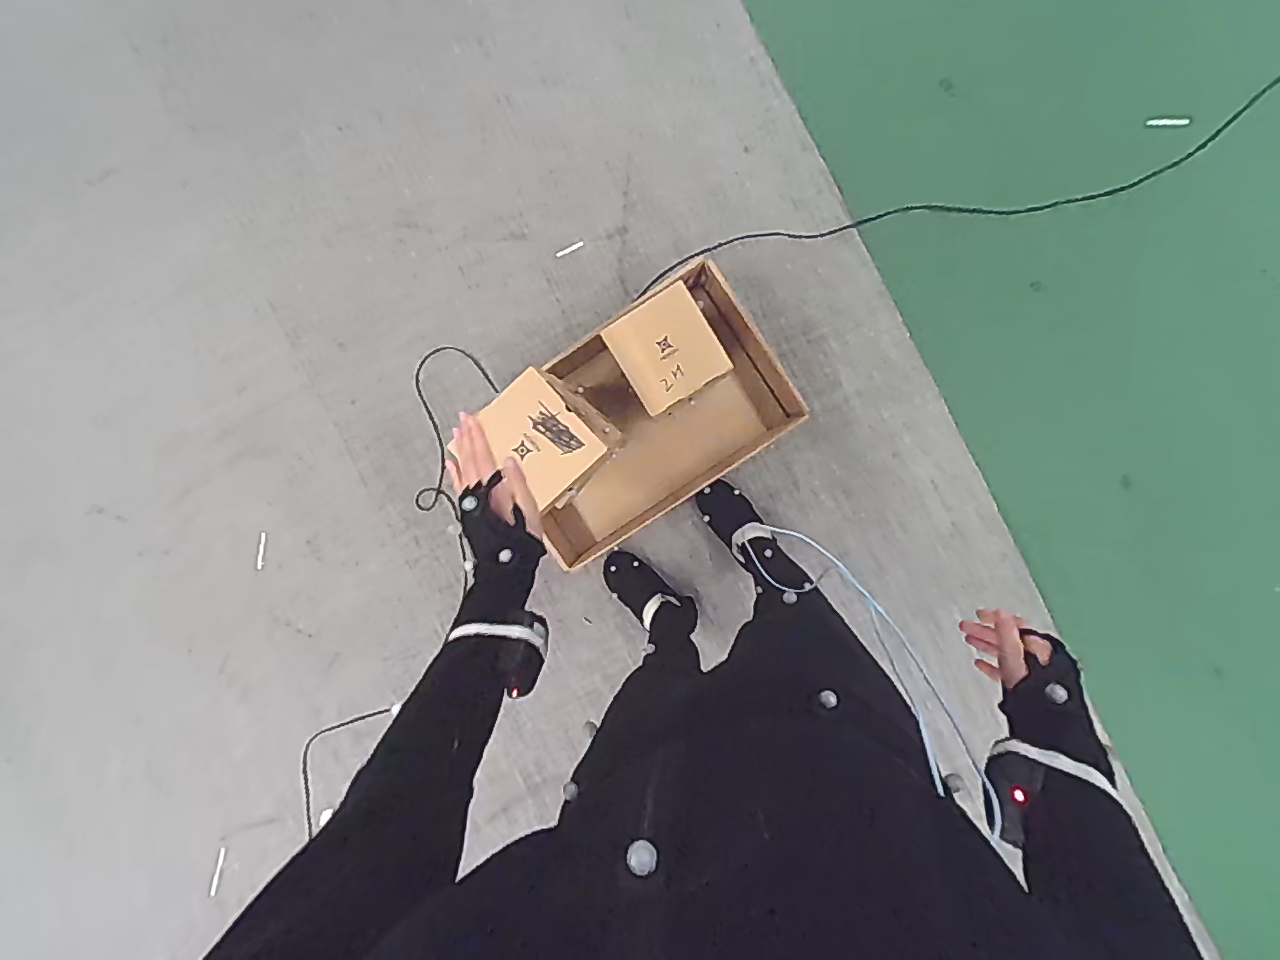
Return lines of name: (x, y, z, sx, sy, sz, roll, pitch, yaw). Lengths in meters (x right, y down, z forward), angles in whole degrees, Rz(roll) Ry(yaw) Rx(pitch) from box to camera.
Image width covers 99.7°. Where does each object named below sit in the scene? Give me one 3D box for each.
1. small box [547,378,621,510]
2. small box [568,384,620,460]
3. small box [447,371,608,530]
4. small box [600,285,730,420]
small box: (-0.150, -0.068, 1.025, 0.168, 0.176, 0.179, 41, 95, -1)
small box: (-0.158, -0.088, 1.187, 0.179, 0.176, 0.168, -33, 93, 4)
small box: (-0.164, -0.048, 0.862, 0.179, 0.176, 0.168, -42, 91, 5)
small box: (0.046, -0.223, 0.999, 0.168, 0.176, 0.179, -31, 92, 6)
